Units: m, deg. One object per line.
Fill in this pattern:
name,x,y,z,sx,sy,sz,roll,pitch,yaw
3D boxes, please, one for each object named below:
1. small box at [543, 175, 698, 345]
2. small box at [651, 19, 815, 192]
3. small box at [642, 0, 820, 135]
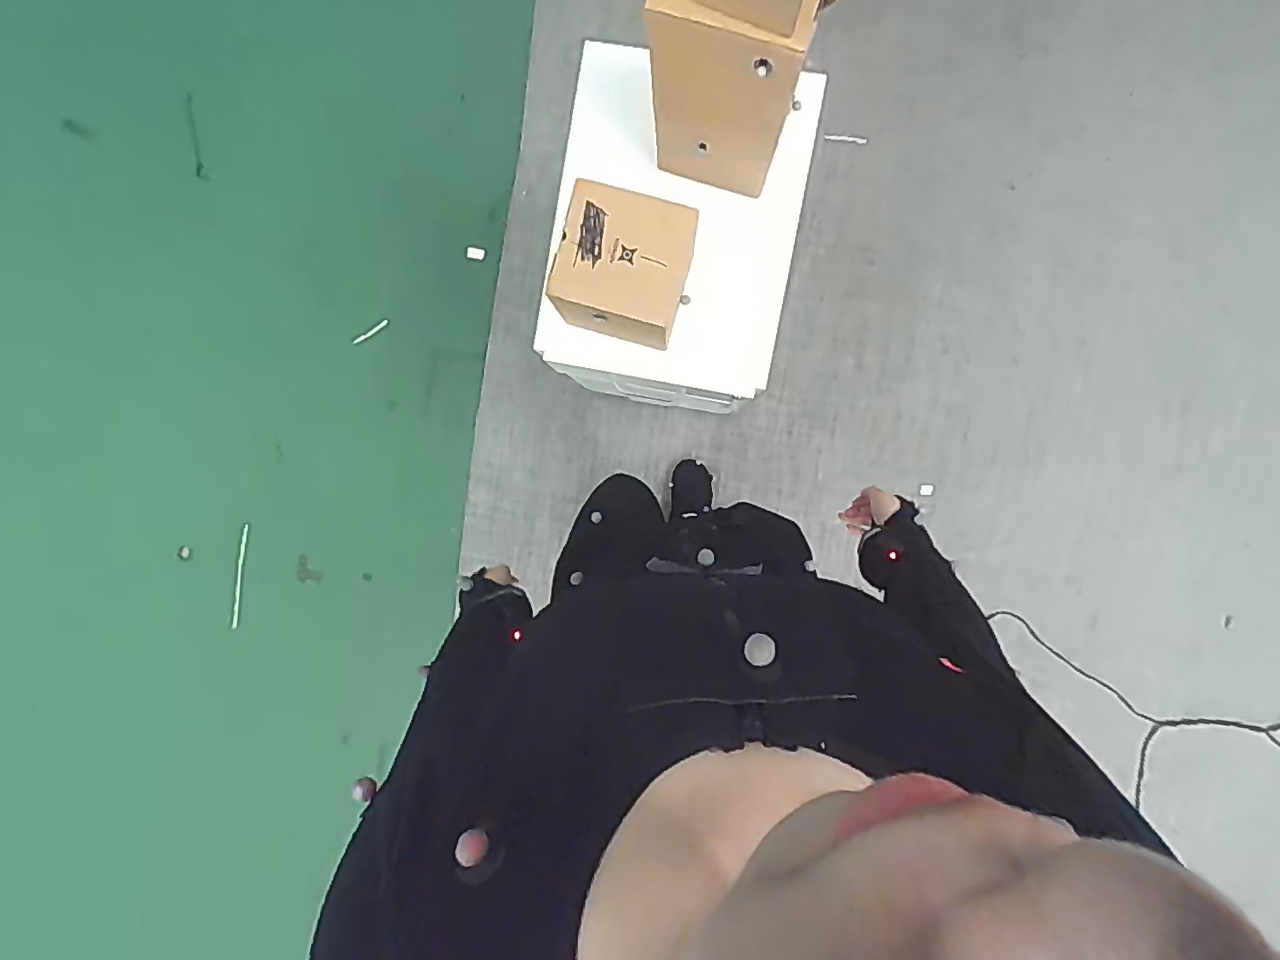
small box,-0.024,-0.314,0.809,0.179,0.176,0.168,16,93,1
small box,0.126,-0.554,0.789,0.179,0.176,0.168,18,94,3
small box,0.112,-0.543,0.628,0.179,0.176,0.168,17,94,2
